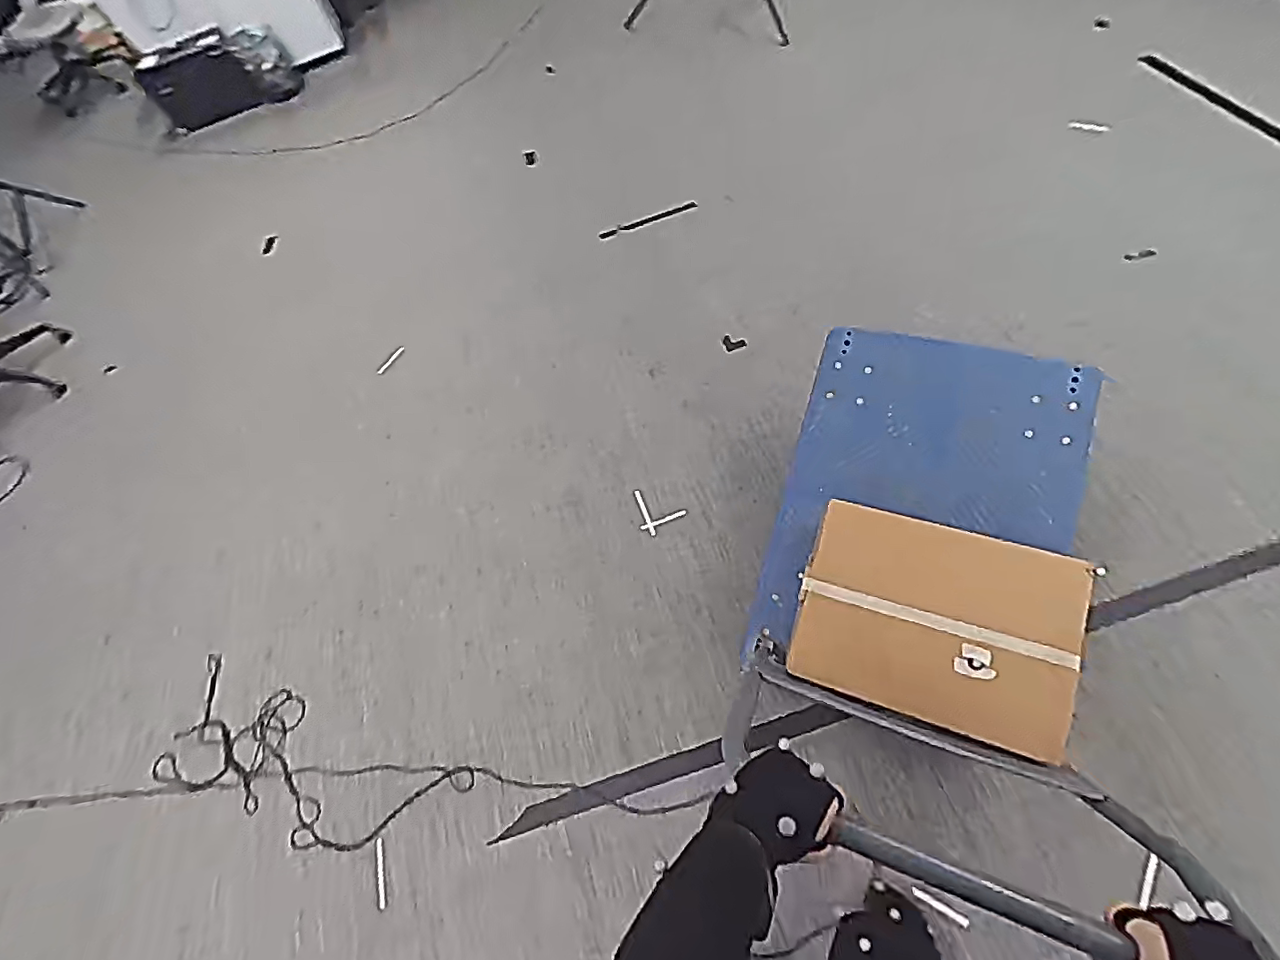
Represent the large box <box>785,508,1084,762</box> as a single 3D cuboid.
[{"bbox_3d":[0.512,0.271,1.030,0.408,0.320,0.320,15,82,17],"label":"large box"}]
